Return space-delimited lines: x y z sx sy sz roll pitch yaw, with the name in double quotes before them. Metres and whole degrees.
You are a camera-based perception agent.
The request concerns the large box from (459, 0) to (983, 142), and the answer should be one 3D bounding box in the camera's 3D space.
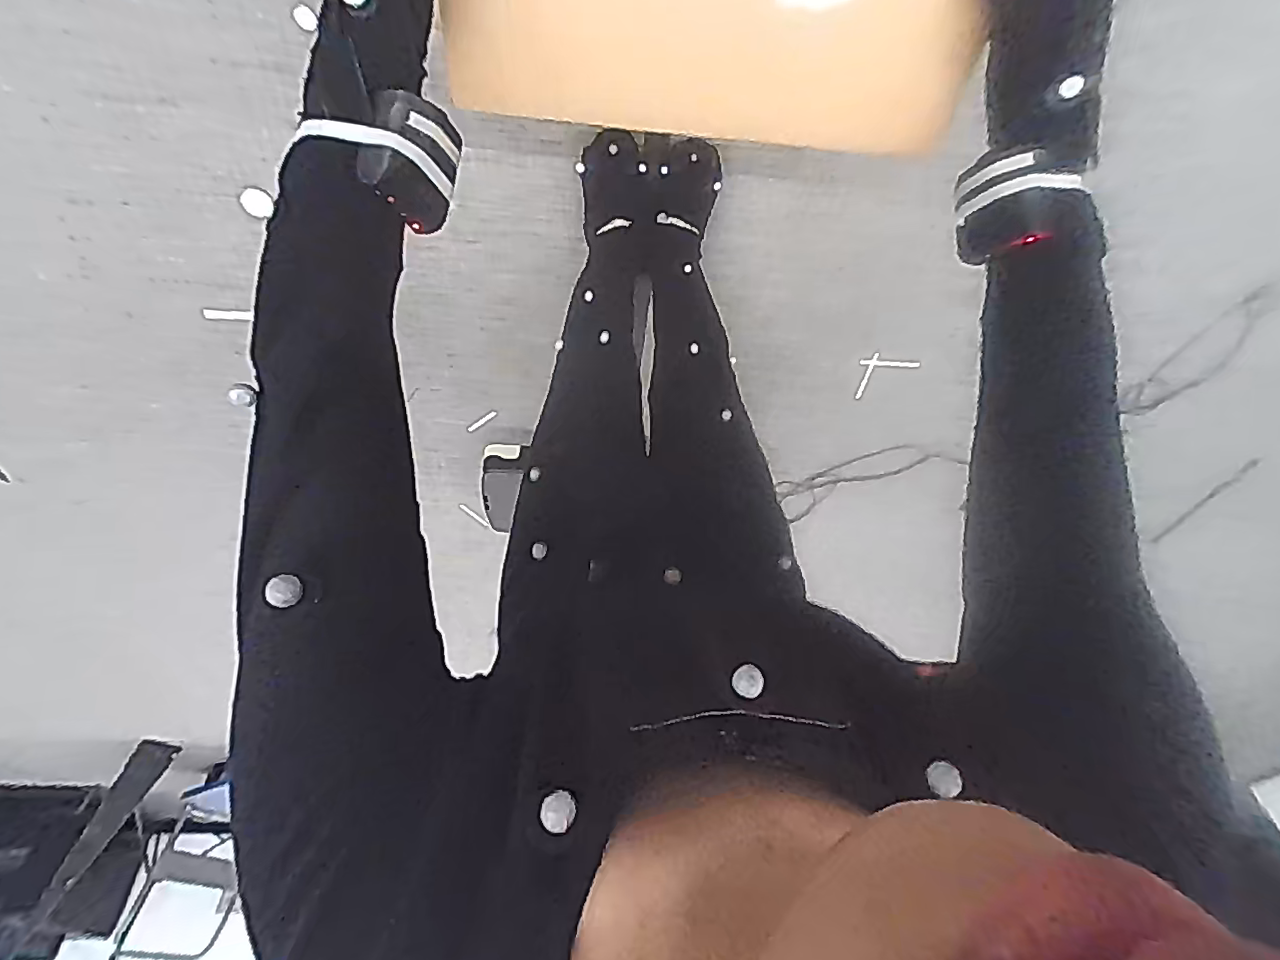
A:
"large box" 0.064 -0.514 0.468 0.408 0.320 0.320 3 132 -4
